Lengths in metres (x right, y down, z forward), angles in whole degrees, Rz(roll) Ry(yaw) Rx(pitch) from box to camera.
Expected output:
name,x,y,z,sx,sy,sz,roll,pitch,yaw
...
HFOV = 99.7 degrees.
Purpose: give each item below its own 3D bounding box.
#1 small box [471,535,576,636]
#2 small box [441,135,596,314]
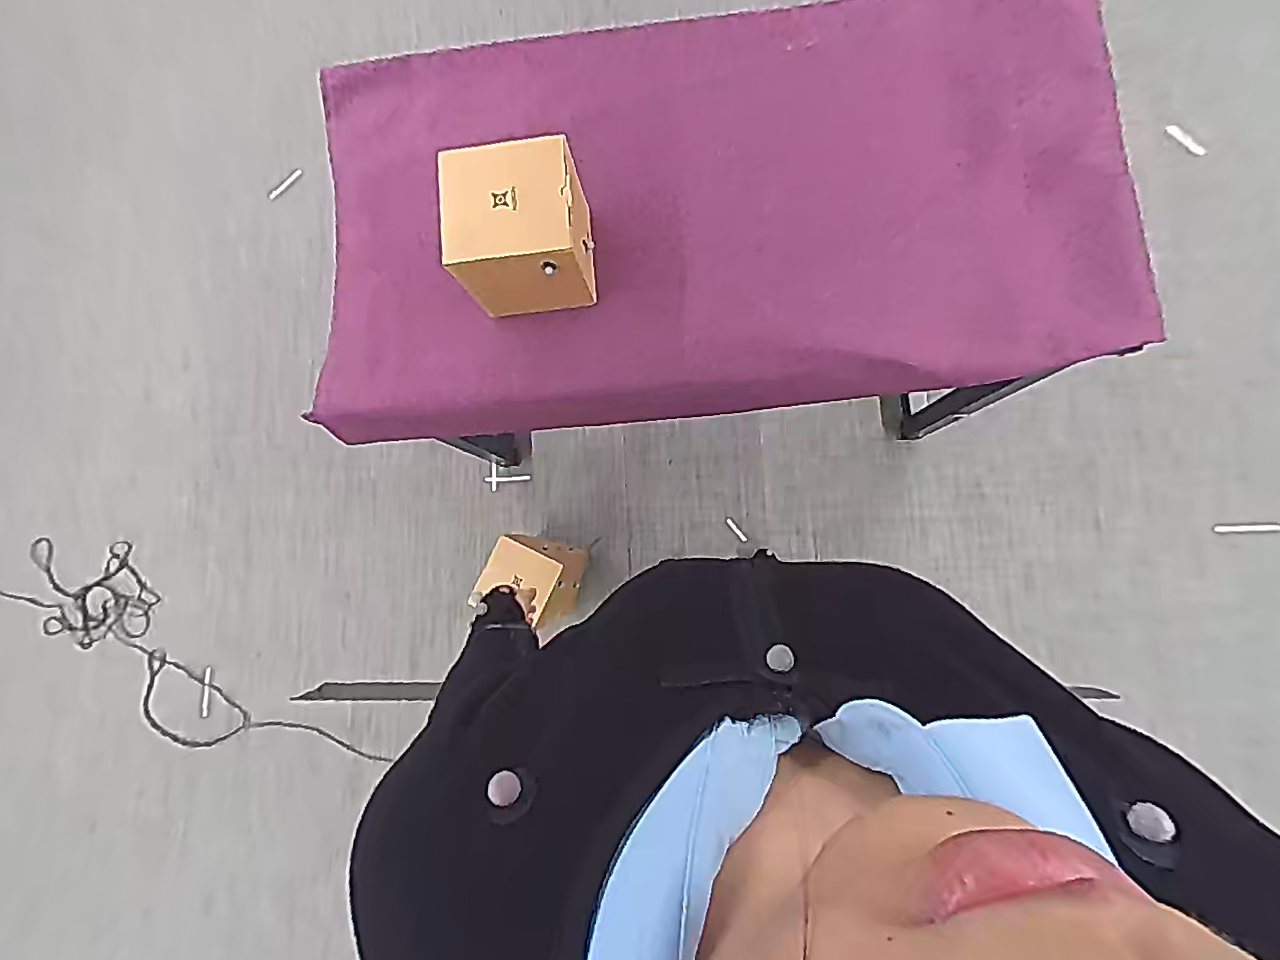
name,x,y,z,sx,sy,sz,roll,pitch,yaw
small box,-0.267,0.244,1.292,0.168,0.176,0.179,25,87,8
small box,-0.168,-0.357,0.787,0.179,0.176,0.168,-6,82,4
